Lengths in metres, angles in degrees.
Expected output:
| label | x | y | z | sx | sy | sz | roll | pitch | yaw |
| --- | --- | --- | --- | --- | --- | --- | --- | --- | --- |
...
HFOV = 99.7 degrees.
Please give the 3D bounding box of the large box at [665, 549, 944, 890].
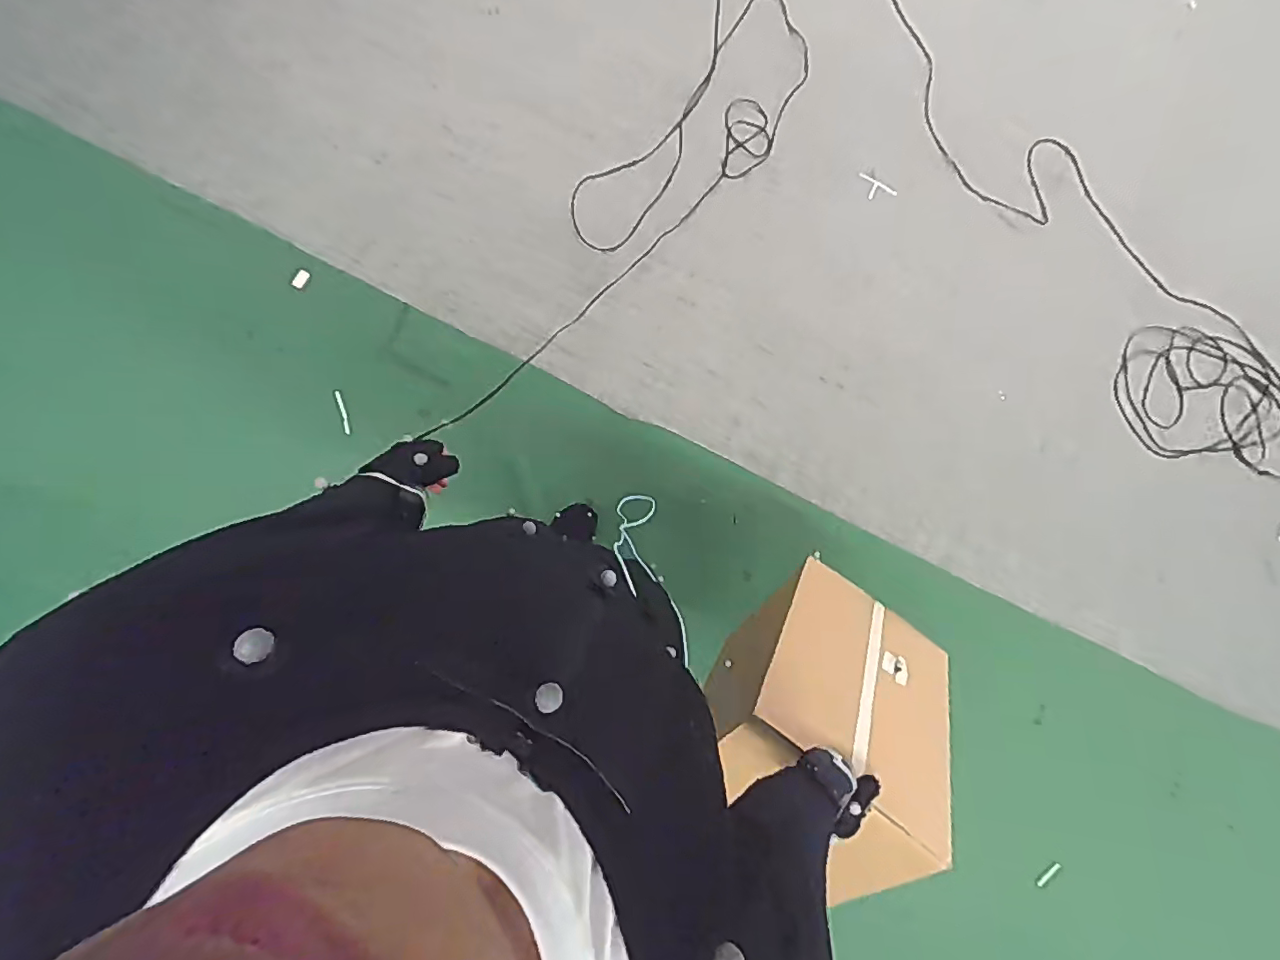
| label | x | y | z | sx | sy | sz | roll | pitch | yaw |
| --- | --- | --- | --- | --- | --- | --- | --- | --- | --- |
| large box | 0.301 | 0.411 | 0.978 | 0.320 | 0.408 | 0.320 | 37 | 128 | 6 |
